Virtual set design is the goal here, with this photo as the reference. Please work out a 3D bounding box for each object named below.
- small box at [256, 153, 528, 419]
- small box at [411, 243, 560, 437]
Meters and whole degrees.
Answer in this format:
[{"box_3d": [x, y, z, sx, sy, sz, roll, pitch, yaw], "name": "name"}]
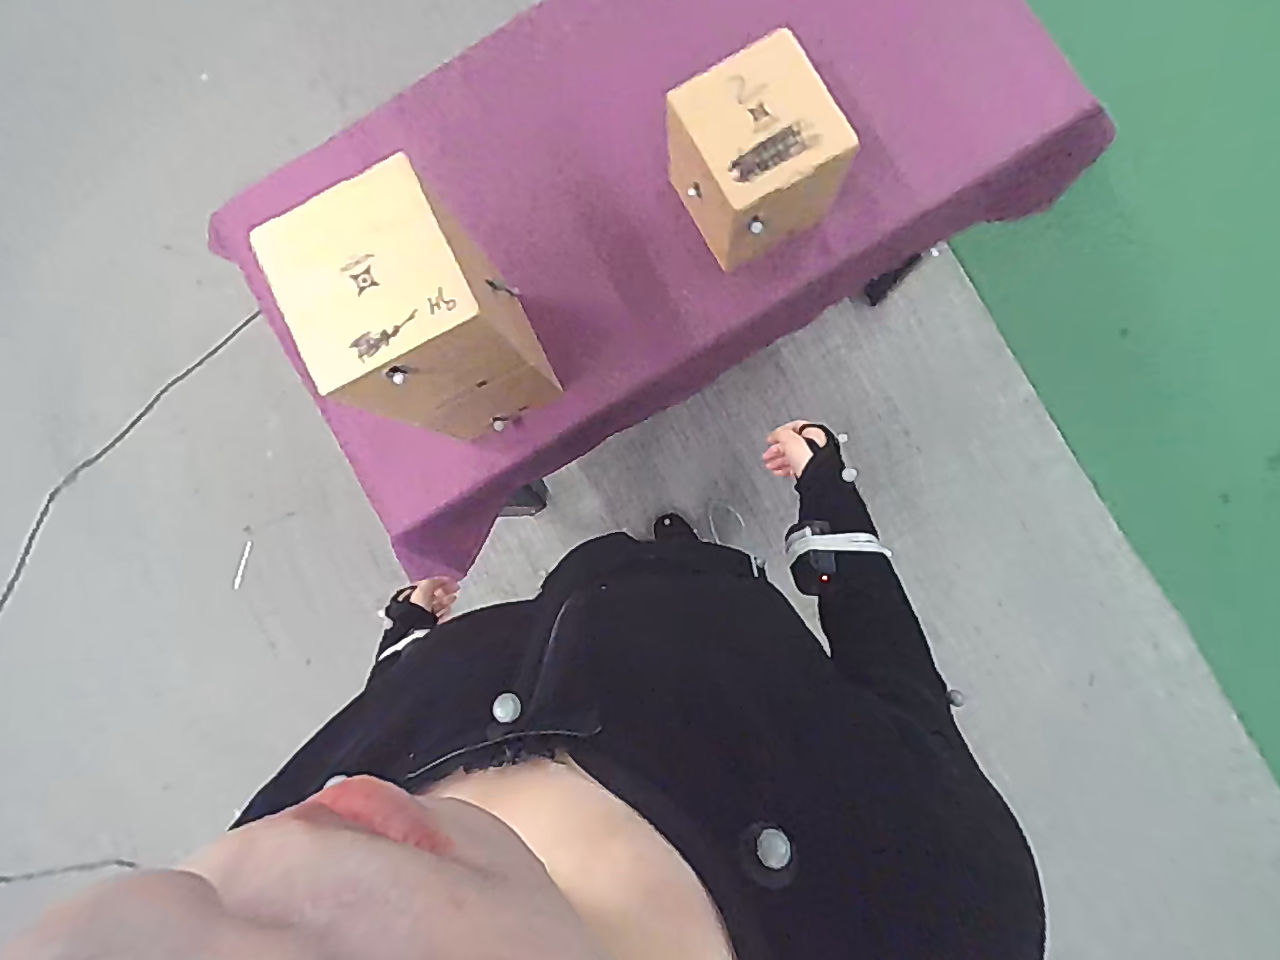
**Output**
[{"box_3d": [-0.244, -0.186, 0.573, 0.168, 0.176, 0.179, -27, 84, 4], "name": "small box"}, {"box_3d": [-0.230, -0.176, 0.738, 0.168, 0.176, 0.179, -27, 86, 3], "name": "small box"}]
